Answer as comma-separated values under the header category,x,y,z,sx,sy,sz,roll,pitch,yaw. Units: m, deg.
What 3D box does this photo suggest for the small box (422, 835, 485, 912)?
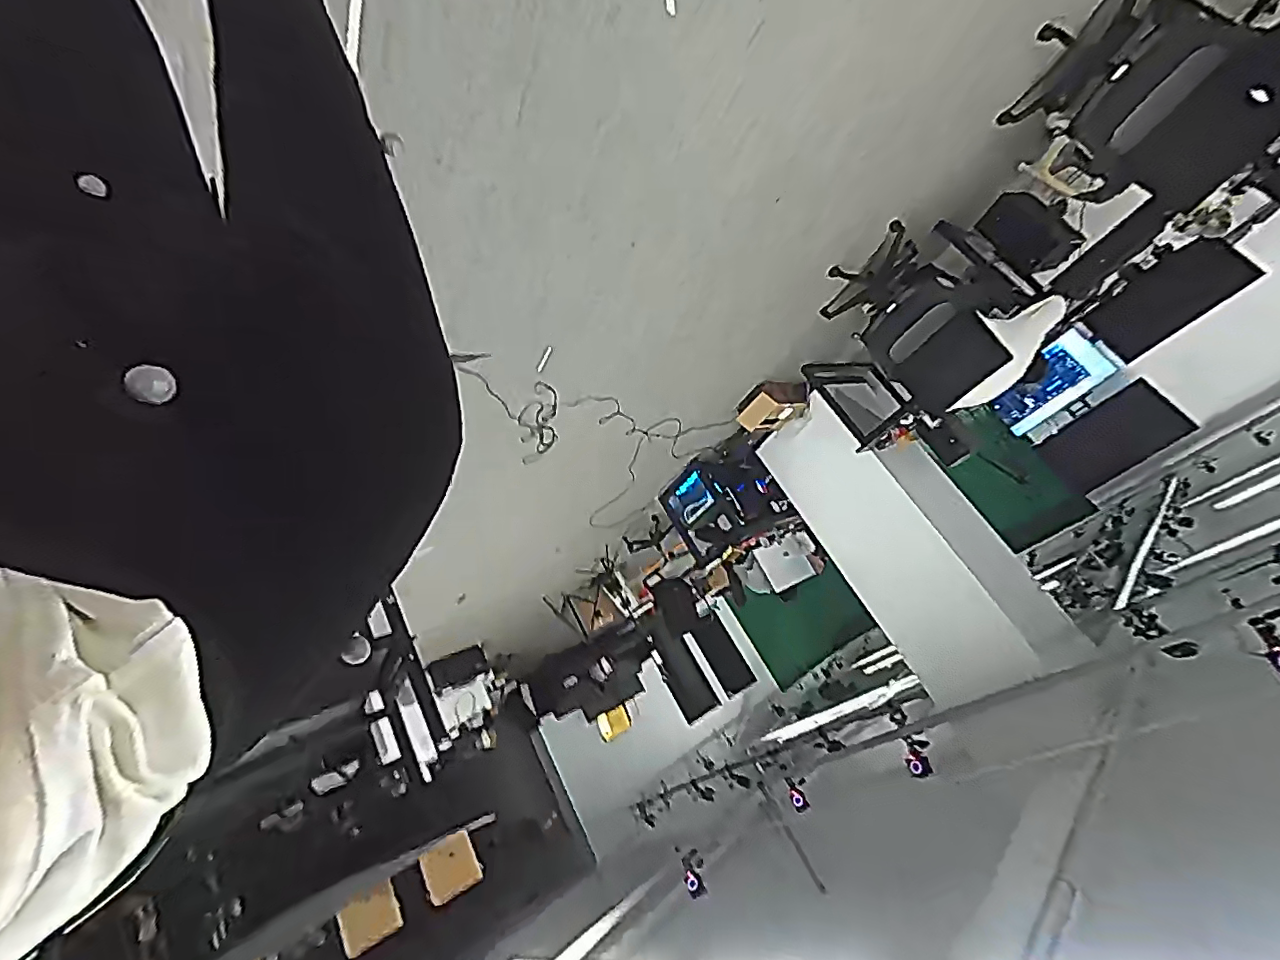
category,x,y,z,sx,sy,sz,roll,pitch,yaw
small box,-0.681,1.422,1.963,0.168,0.176,0.179,-16,153,-34
